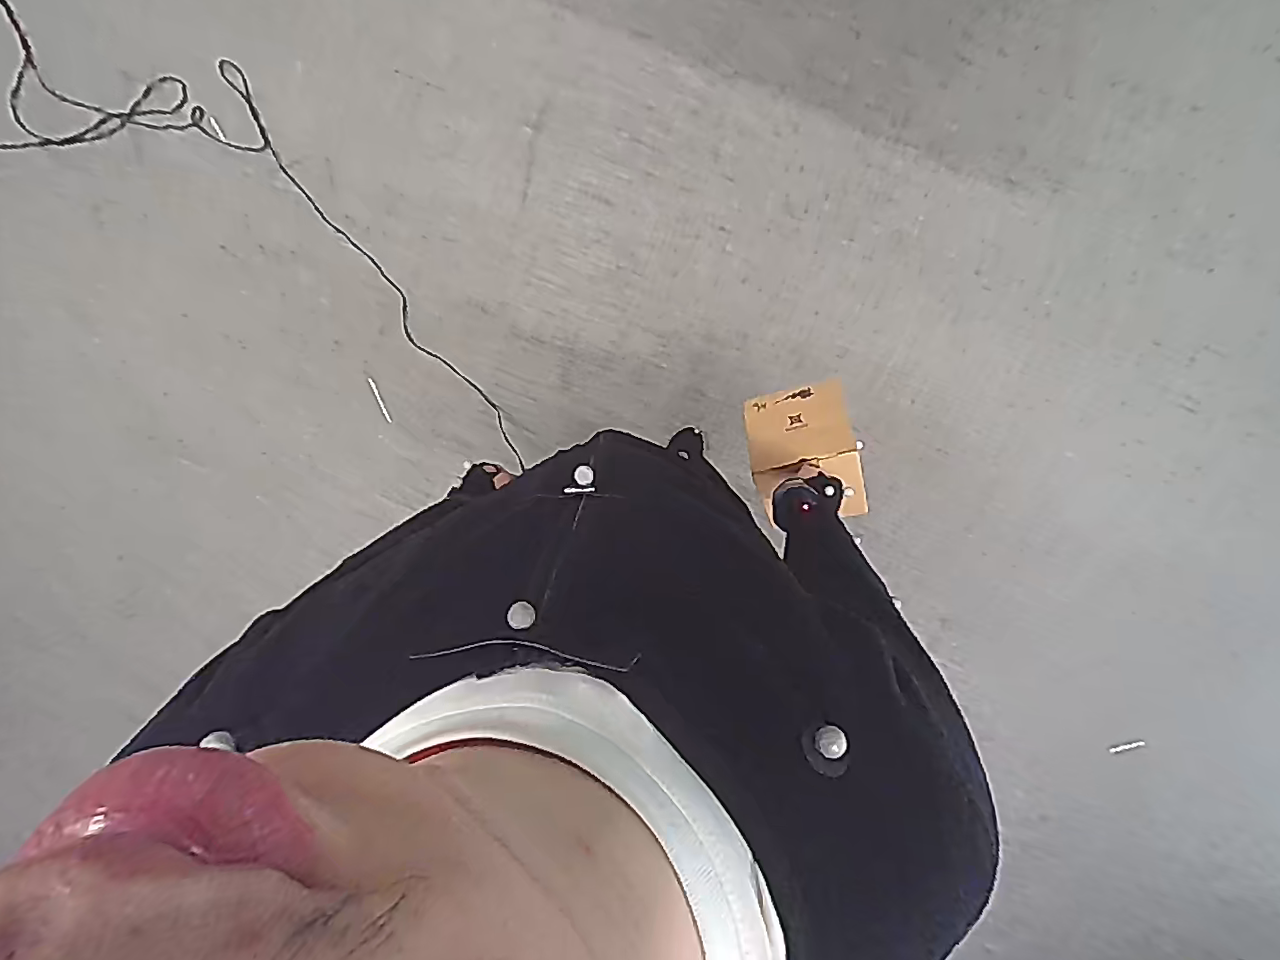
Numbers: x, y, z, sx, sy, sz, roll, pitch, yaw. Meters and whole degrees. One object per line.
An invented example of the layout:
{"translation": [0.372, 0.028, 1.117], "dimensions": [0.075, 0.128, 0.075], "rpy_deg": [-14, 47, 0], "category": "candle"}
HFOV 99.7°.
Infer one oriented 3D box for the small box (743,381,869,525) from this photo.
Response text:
{"translation": [0.292, -0.037, 0.954], "dimensions": [0.168, 0.179, 0.176], "rpy_deg": [-16, 137, 18], "category": "small box"}
